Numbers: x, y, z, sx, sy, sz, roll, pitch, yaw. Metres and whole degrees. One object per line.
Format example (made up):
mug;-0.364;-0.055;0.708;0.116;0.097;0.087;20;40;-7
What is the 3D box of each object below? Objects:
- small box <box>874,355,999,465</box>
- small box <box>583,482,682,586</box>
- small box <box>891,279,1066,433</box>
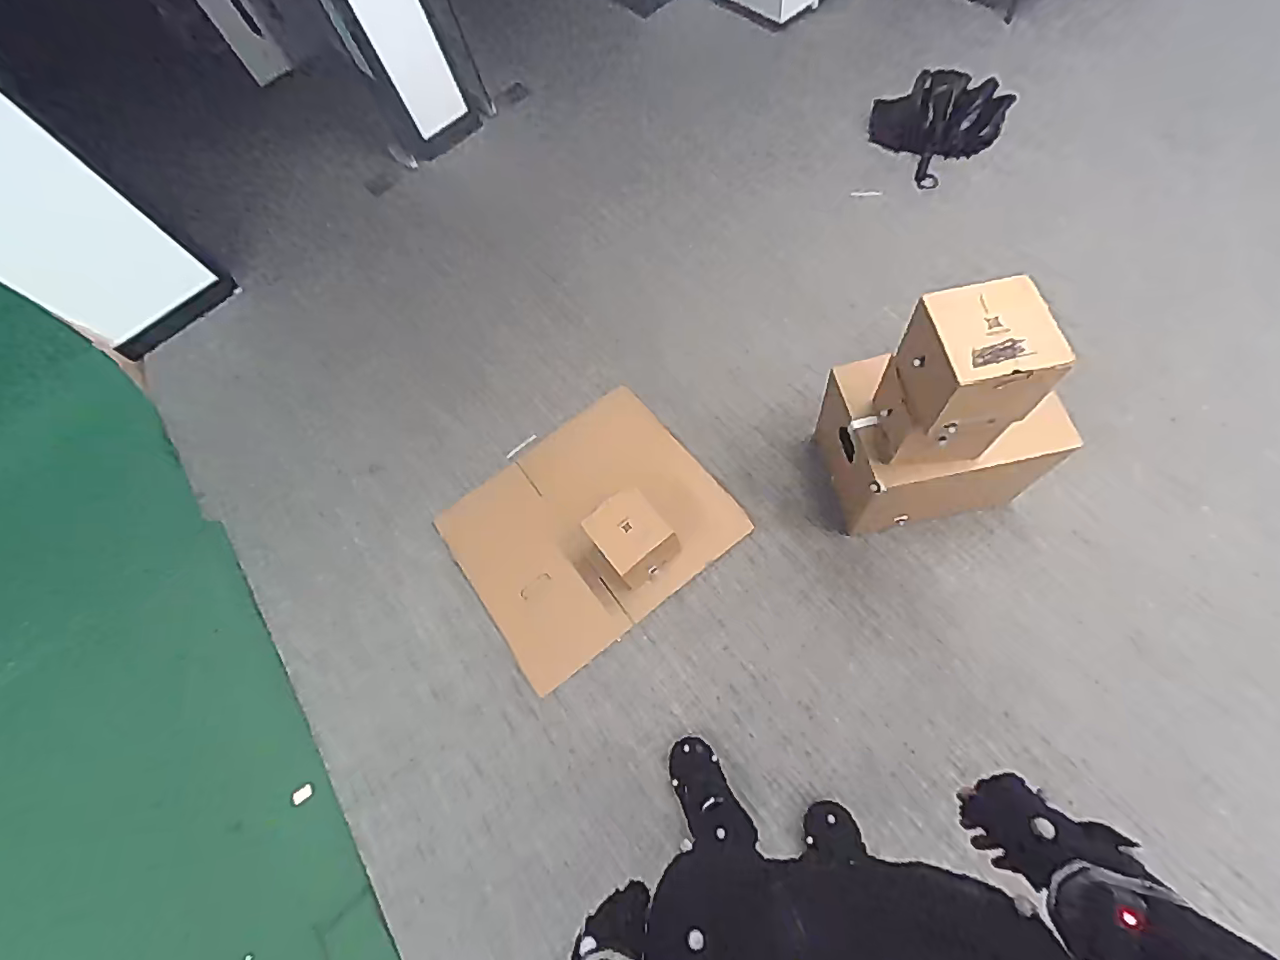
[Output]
small box;0.573;-0.141;1.058;0.179;0.176;0.168;-7;64;6
small box;-0.014;0.143;1.364;0.168;0.176;0.179;-40;66;-6
small box;0.545;-0.194;0.902;0.168;0.176;0.179;-13;66;5
